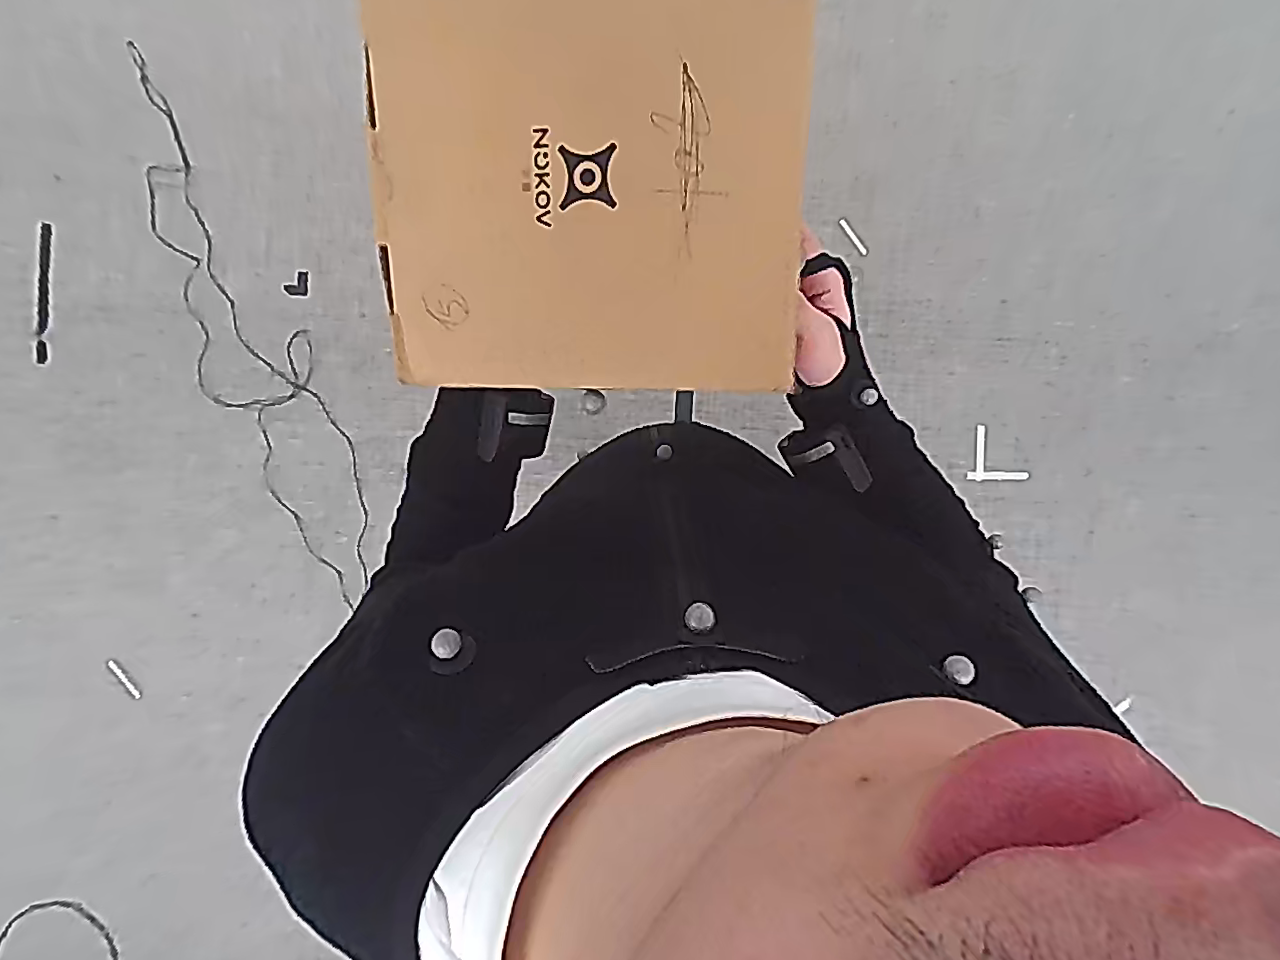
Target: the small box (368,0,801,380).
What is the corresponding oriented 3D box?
[{"bbox_3d":[-0.013,-0.141,0.301,0.179,0.176,0.168,0,103,8],"label":"small box"}]
